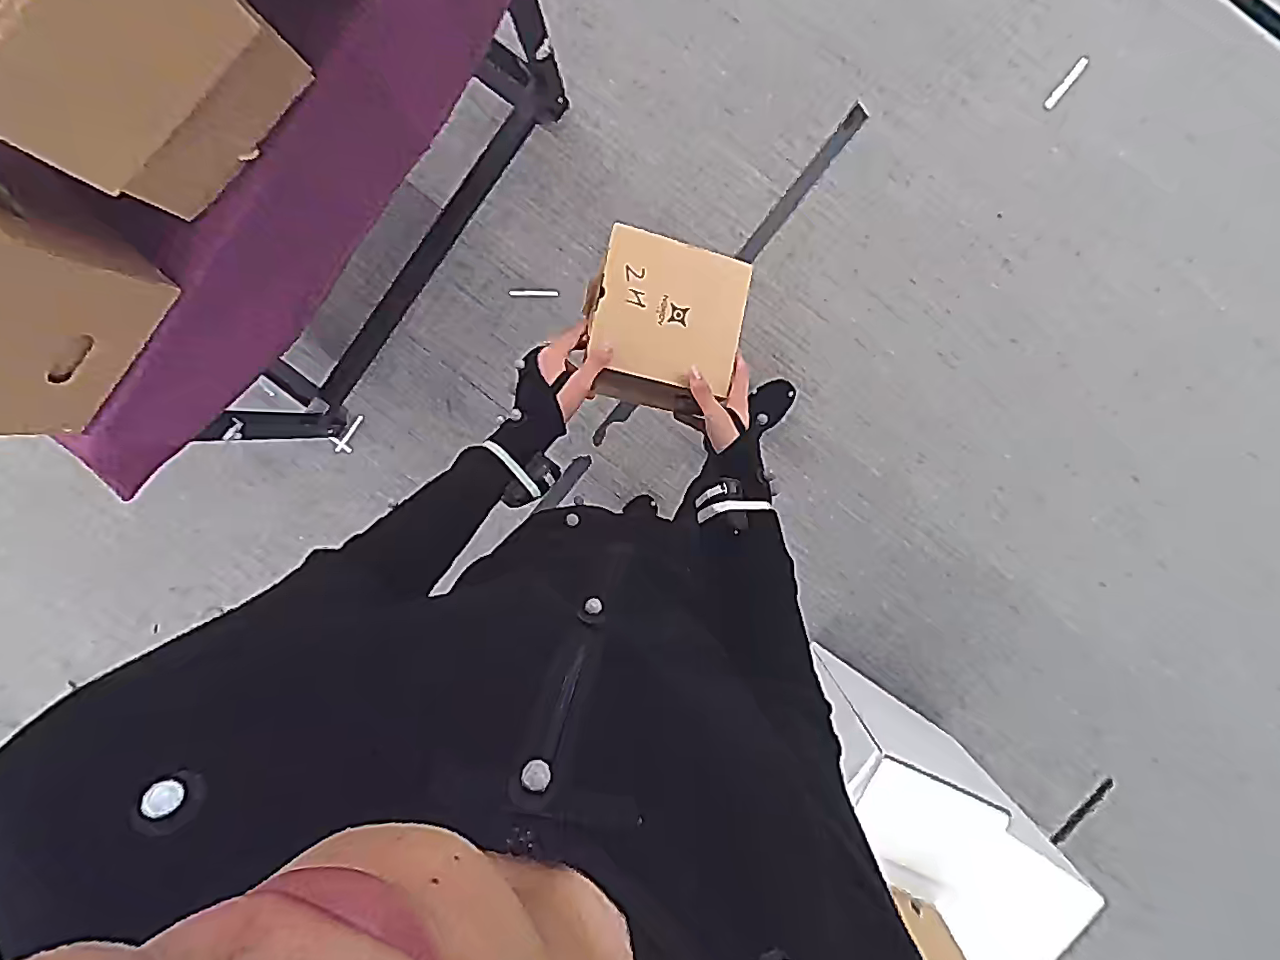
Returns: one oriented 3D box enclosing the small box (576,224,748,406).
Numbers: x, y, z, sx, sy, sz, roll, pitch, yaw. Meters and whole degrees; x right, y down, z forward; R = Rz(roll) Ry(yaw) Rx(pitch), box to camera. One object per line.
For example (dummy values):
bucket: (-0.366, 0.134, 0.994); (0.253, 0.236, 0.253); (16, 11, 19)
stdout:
small box: (0.018, -0.199, 0.709); (0.179, 0.176, 0.168); (11, 88, -9)

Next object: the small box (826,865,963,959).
small box: (0.465, 0.872, 0.994); (0.168, 0.176, 0.179); (26, 95, -1)
